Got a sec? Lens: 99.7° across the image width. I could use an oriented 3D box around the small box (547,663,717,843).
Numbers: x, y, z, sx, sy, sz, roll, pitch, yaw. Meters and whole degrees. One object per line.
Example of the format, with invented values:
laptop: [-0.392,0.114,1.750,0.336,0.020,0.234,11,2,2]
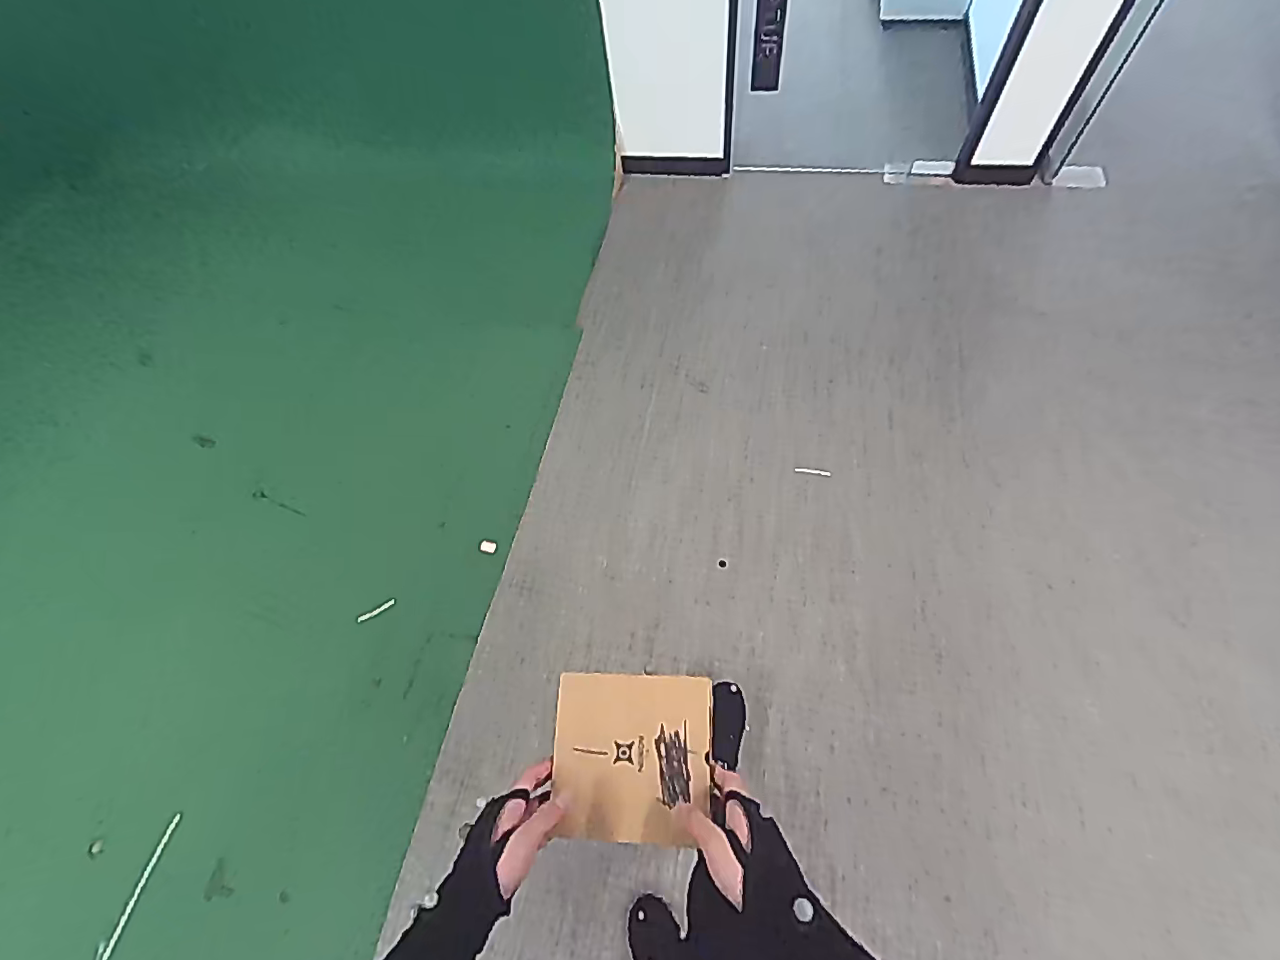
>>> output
small box: [0.001,0.315,0.652,0.179,0.176,0.168,0,68,7]
